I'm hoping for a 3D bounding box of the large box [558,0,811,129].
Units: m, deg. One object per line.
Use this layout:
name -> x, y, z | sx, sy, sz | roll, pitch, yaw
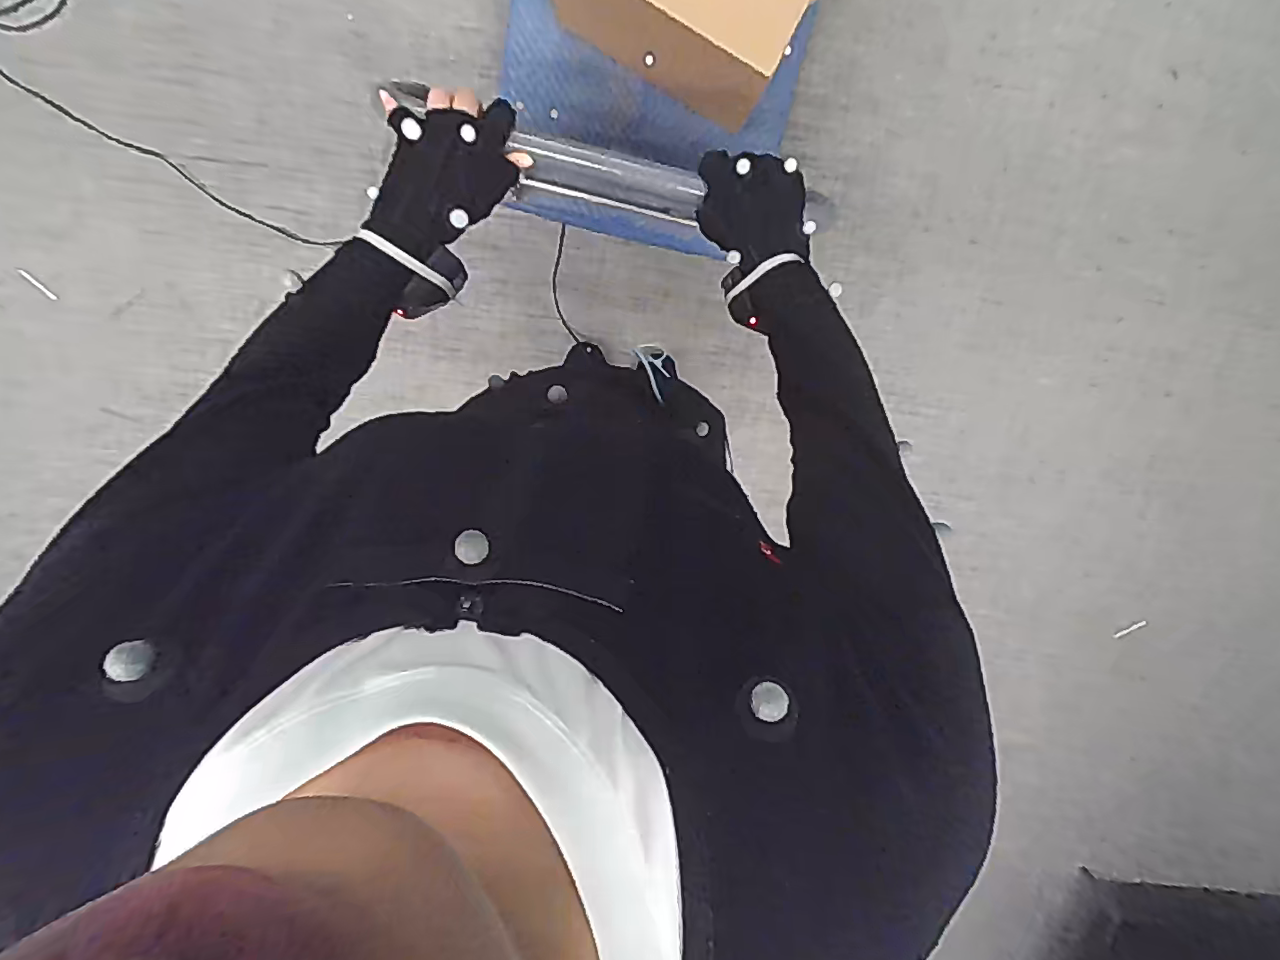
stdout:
large box -> 0.095, -0.873, 0.895 | 0.408, 0.320, 0.320 | 27, 107, -9
